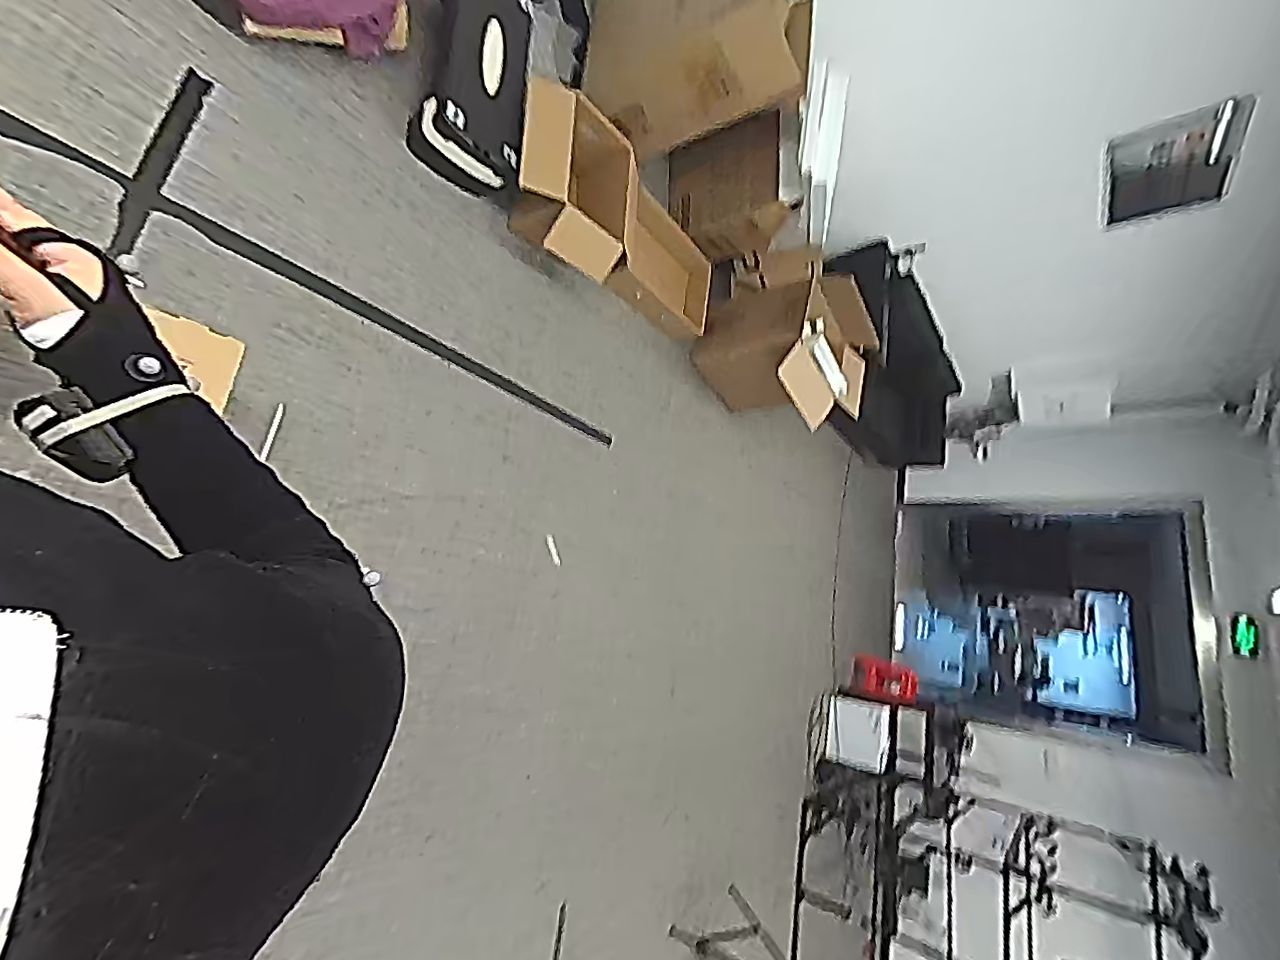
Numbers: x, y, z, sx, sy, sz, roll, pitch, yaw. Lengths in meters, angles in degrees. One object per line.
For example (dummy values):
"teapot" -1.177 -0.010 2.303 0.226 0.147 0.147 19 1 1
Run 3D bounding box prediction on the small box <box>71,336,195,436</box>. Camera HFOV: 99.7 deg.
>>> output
"small box" -1.012 -0.195 1.111 0.179 0.176 0.168 32 65 -49

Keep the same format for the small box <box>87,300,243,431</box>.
"small box" -0.887 -0.202 1.008 0.168 0.176 0.179 23 72 -48
